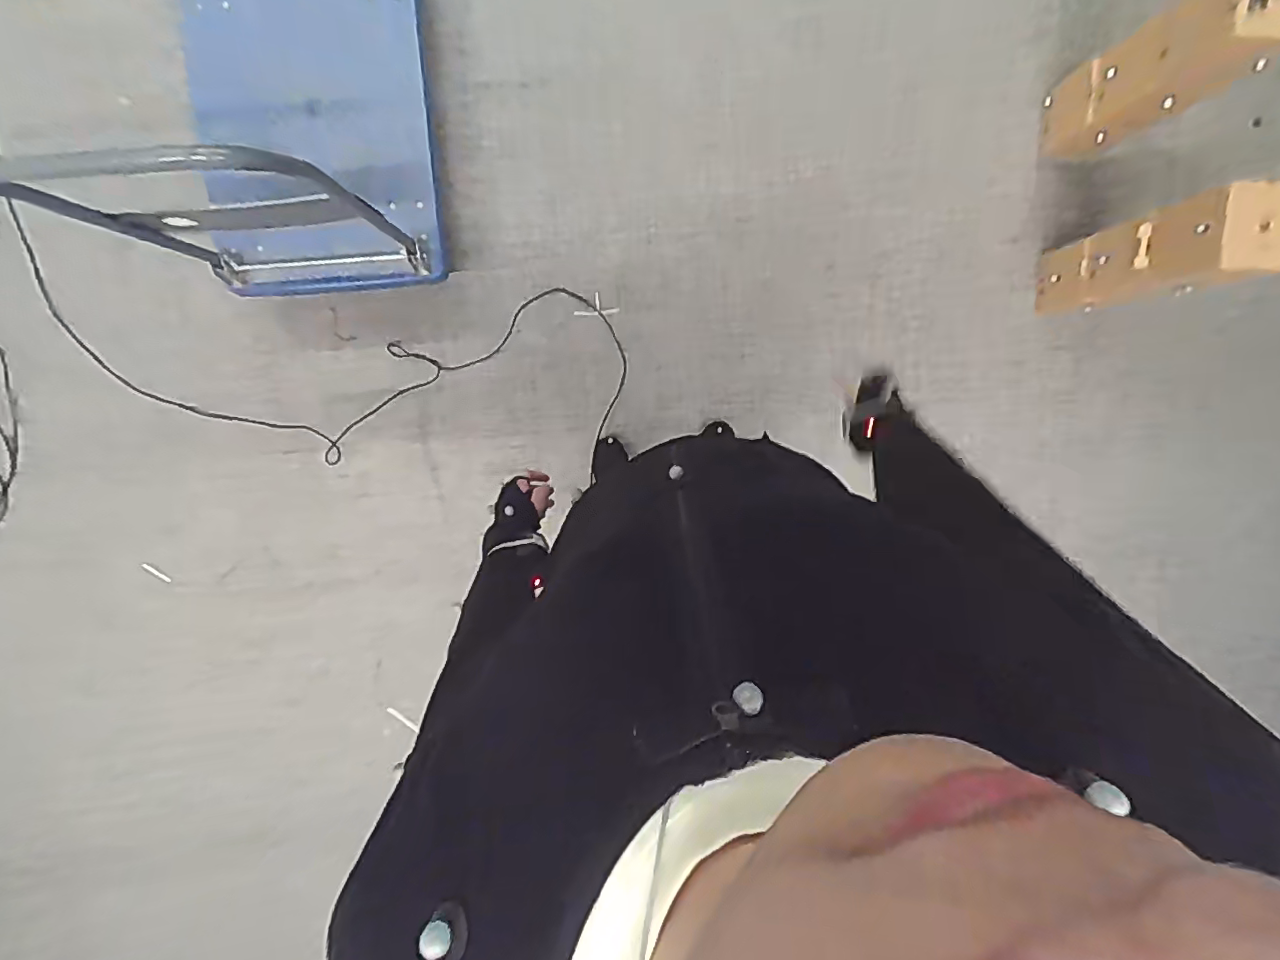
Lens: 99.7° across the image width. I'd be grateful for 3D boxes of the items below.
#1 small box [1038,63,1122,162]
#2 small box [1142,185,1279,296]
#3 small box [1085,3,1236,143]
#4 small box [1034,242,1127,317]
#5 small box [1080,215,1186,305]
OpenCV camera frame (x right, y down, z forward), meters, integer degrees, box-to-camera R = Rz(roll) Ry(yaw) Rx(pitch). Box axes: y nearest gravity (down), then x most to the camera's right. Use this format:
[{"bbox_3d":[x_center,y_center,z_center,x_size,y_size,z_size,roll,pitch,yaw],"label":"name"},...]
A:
[{"bbox_3d":[1.230,-0.991,1.471,0.179,0.176,0.168,1,96,-2],"label":"small box"},{"bbox_3d":[1.264,-0.518,1.188,0.168,0.176,0.179,3,95,-1],"label":"small box"},{"bbox_3d":[1.252,-0.979,1.318,0.168,0.176,0.179,33,93,-2],"label":"small box"},{"bbox_3d":[1.247,-0.556,1.514,0.179,0.176,0.168,-1,96,0],"label":"small box"},{"bbox_3d":[1.261,-0.541,1.350,0.179,0.176,0.168,3,95,-2],"label":"small box"}]
